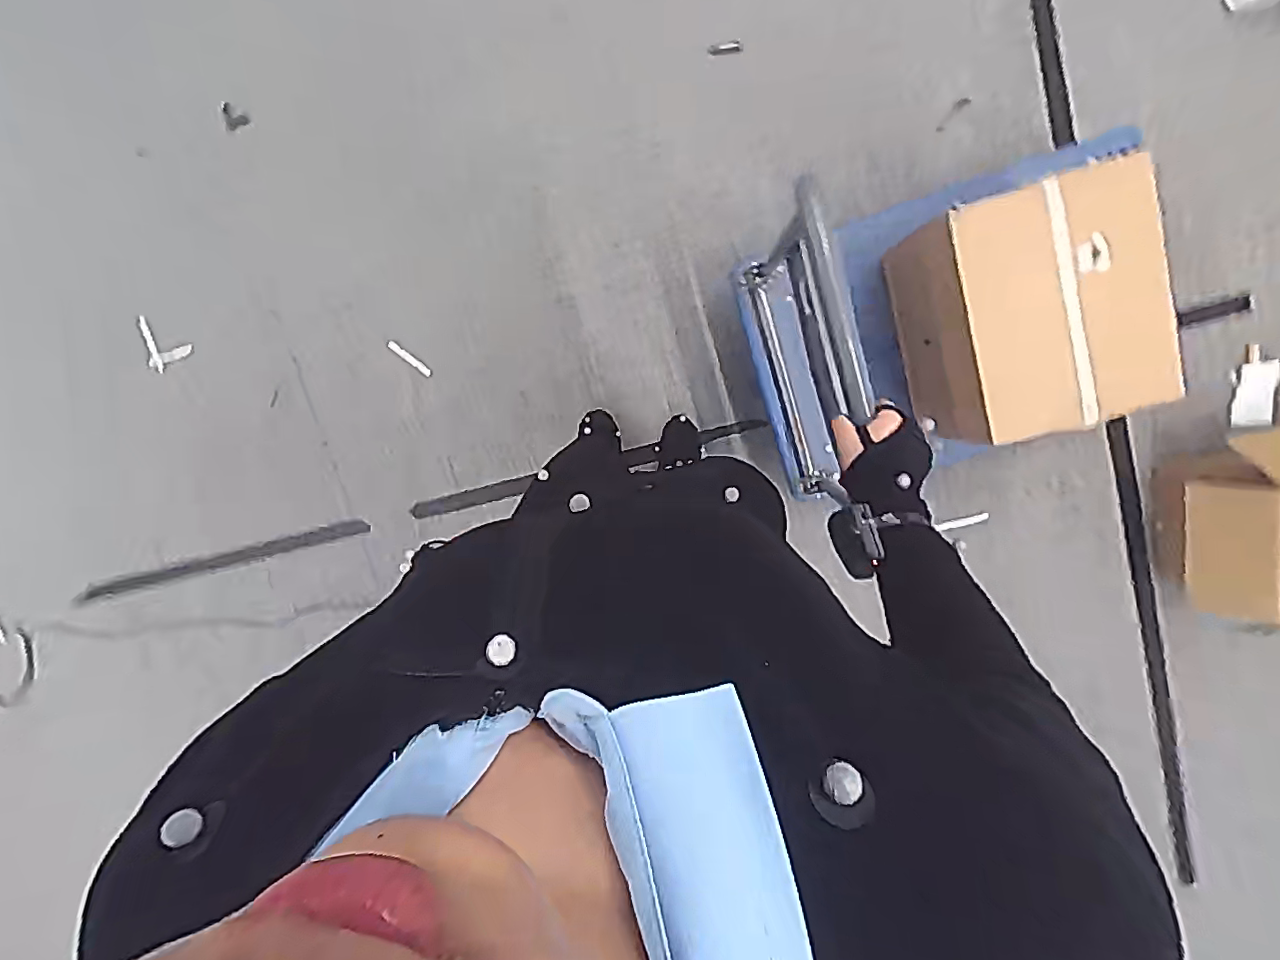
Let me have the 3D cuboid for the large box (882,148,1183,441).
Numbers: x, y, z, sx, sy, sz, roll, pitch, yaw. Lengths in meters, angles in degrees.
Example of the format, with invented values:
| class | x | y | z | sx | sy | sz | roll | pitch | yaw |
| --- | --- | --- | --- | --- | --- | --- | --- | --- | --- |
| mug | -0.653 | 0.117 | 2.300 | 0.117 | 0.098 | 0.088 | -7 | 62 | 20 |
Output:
| class | x | y | z | sx | sy | sz | roll | pitch | yaw |
| --- | --- | --- | --- | --- | --- | --- | --- | --- | --- |
| large box | 0.707 | -0.314 | 1.031 | 0.320 | 0.320 | 0.408 | -15 | 97 | 6 |
